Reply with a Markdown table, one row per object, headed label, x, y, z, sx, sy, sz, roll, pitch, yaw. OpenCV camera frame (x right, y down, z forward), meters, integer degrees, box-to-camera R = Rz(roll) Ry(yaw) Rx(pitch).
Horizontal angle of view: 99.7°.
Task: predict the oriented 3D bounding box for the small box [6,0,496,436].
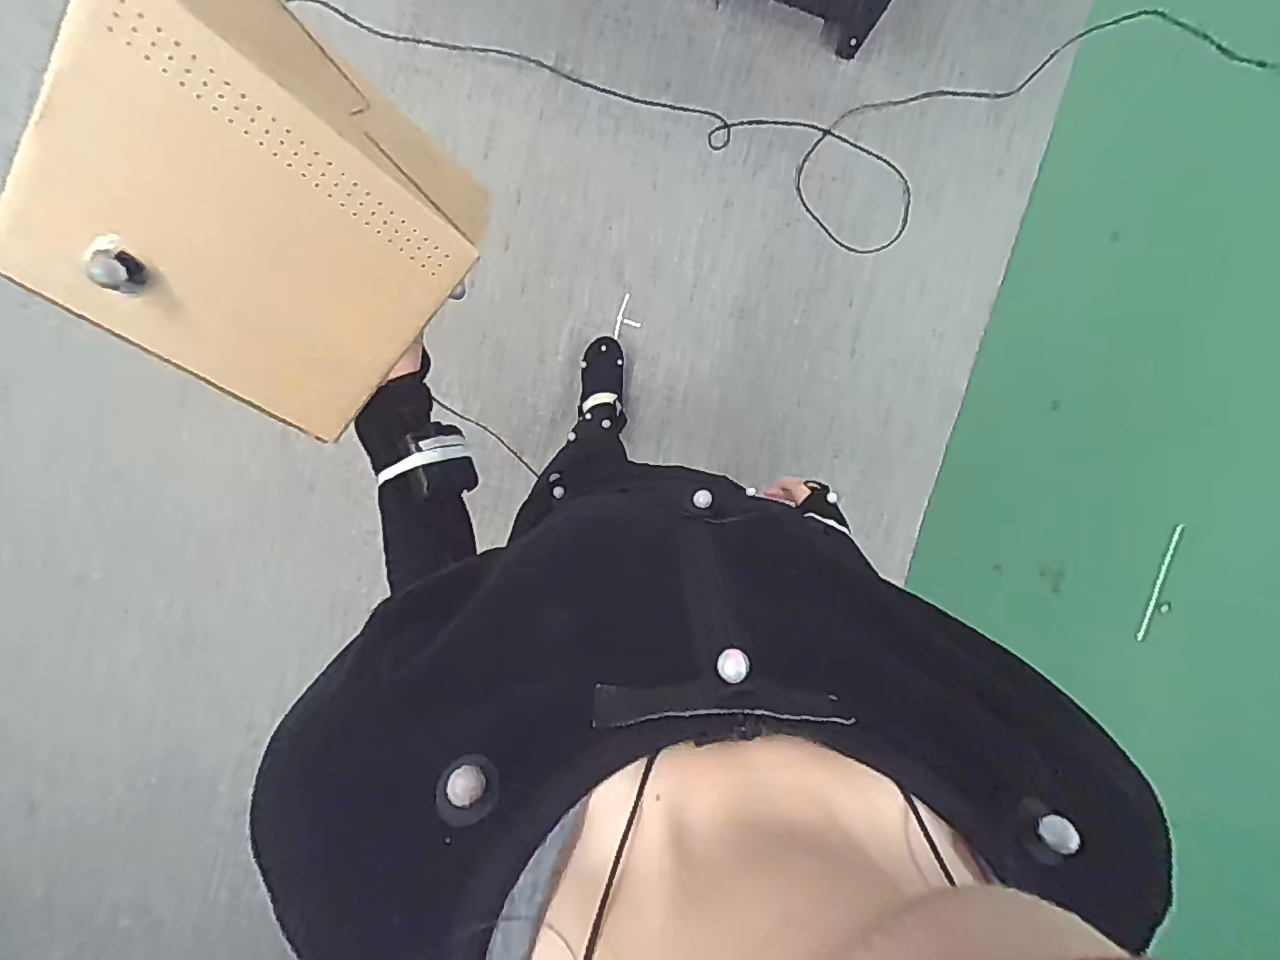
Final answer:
| label | x | y | z | sx | sy | sz | roll | pitch | yaw |
| --- | --- | --- | --- | --- | --- | --- | --- | --- | --- |
| small box | -0.215 | -0.169 | 0.347 | 0.176 | 0.168 | 0.179 | -41 | 125 | 21 |
